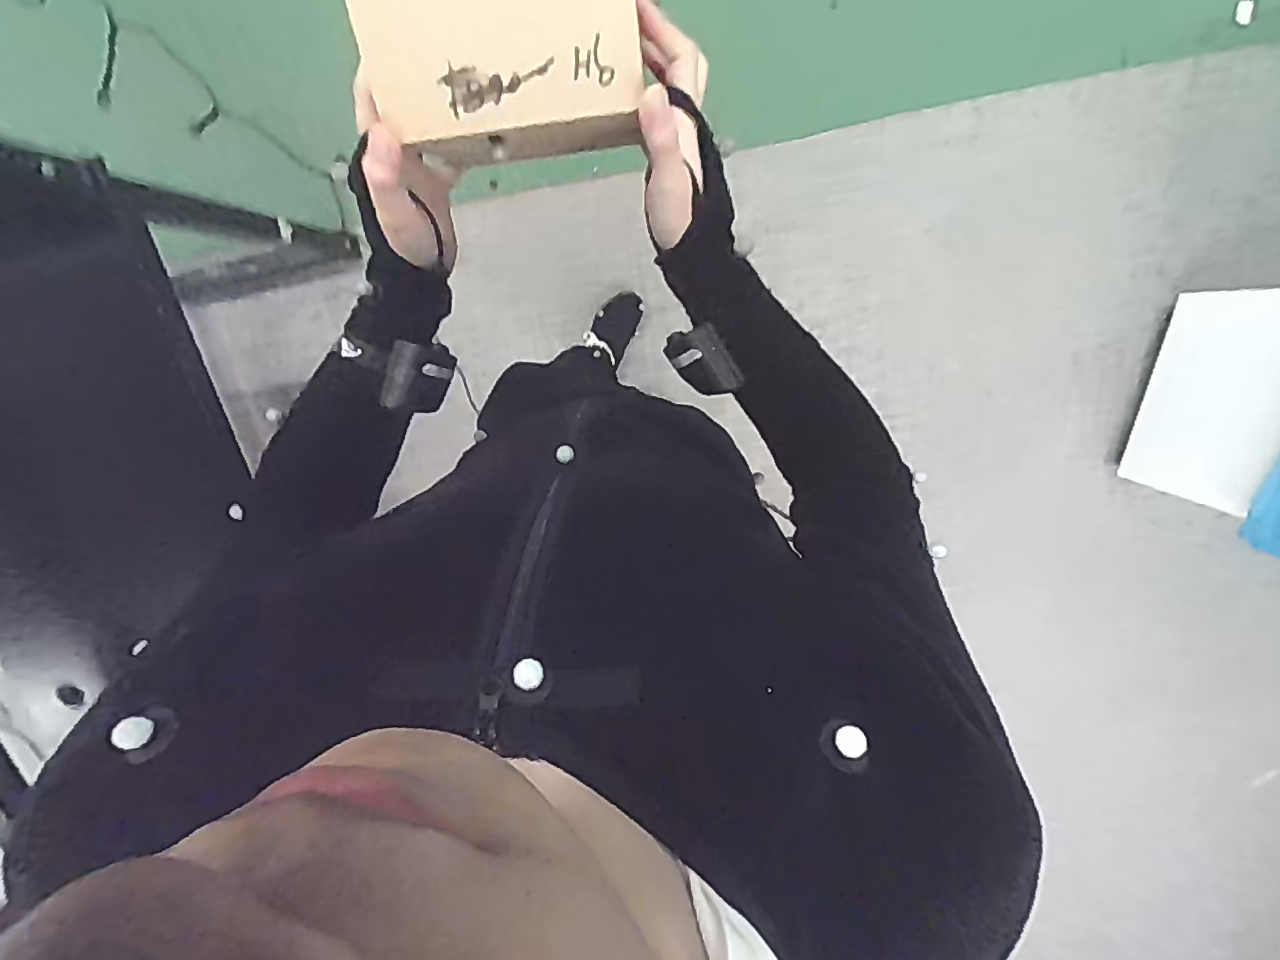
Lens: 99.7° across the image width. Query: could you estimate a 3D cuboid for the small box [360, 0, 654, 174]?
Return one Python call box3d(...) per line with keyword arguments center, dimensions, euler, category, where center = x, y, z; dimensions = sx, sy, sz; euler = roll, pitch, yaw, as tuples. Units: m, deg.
box3d(center=(-0.079, -0.327, 0.374), dimensions=(0.168, 0.176, 0.179), euler=(-4, 115, 5), category="small box")
